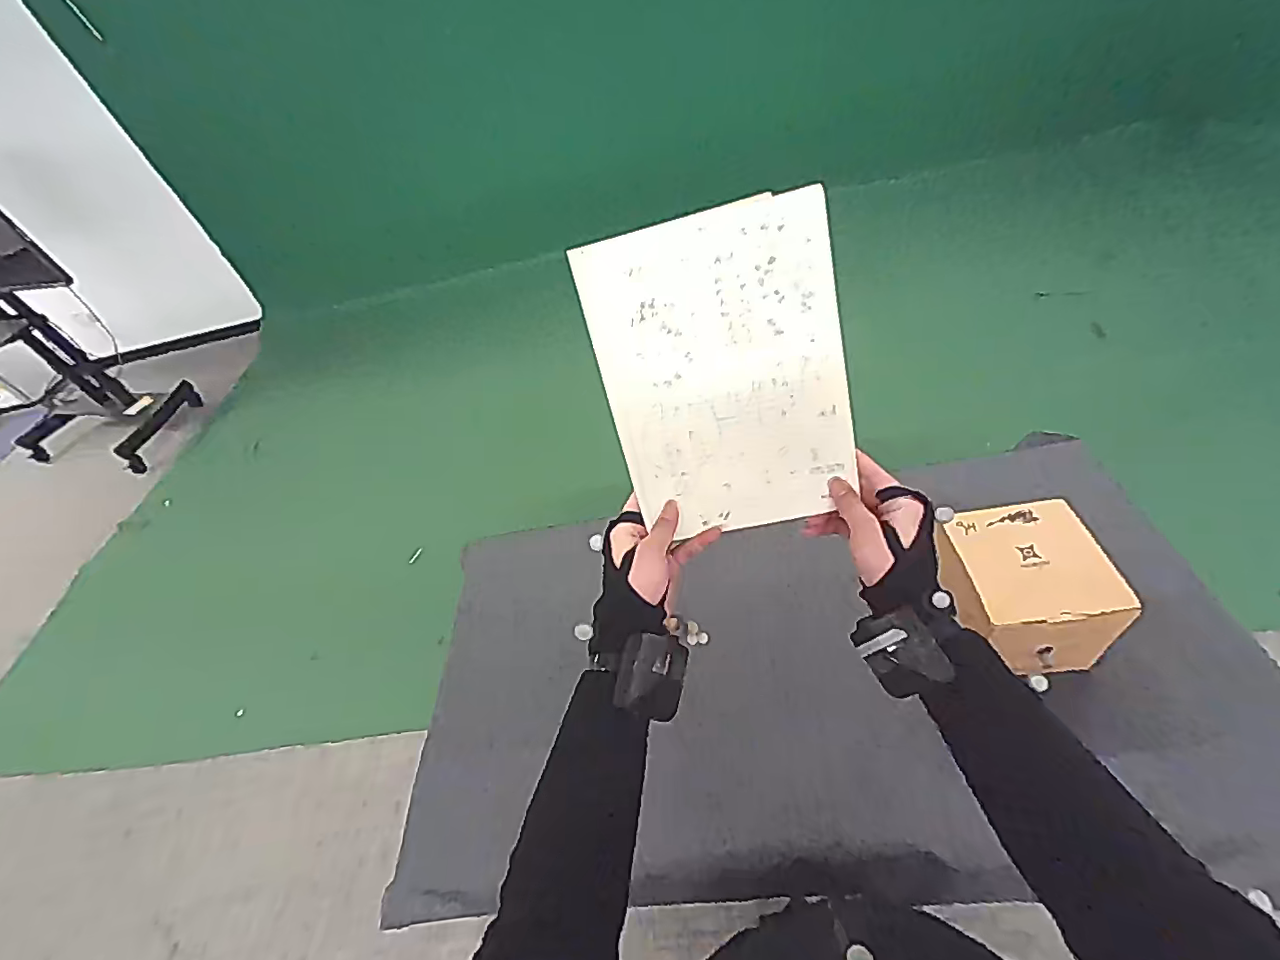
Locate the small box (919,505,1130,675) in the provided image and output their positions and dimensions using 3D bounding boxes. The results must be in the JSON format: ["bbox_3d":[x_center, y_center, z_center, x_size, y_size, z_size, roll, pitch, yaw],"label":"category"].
[{"bbox_3d":[0.520,0.163,0.765,0.168,0.176,0.179,-9,48,8],"label":"small box"}]
